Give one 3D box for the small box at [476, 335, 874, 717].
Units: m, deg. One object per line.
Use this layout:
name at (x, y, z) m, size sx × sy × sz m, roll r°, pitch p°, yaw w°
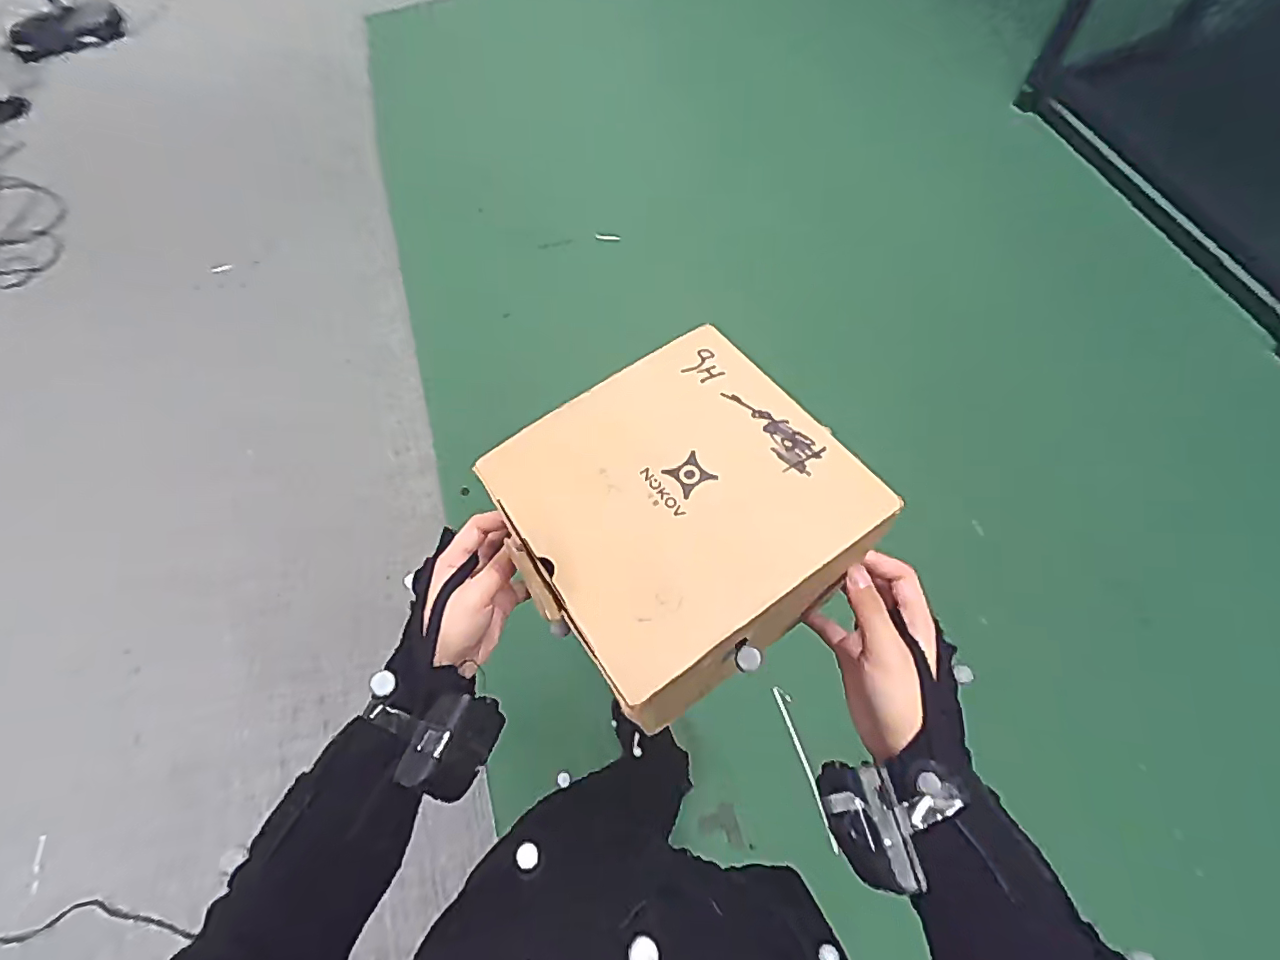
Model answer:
small box at (0.022, 0.042, 0.380) m, size 0.179 × 0.176 × 0.168 m, roll -34°, pitch 64°, yaw -13°
